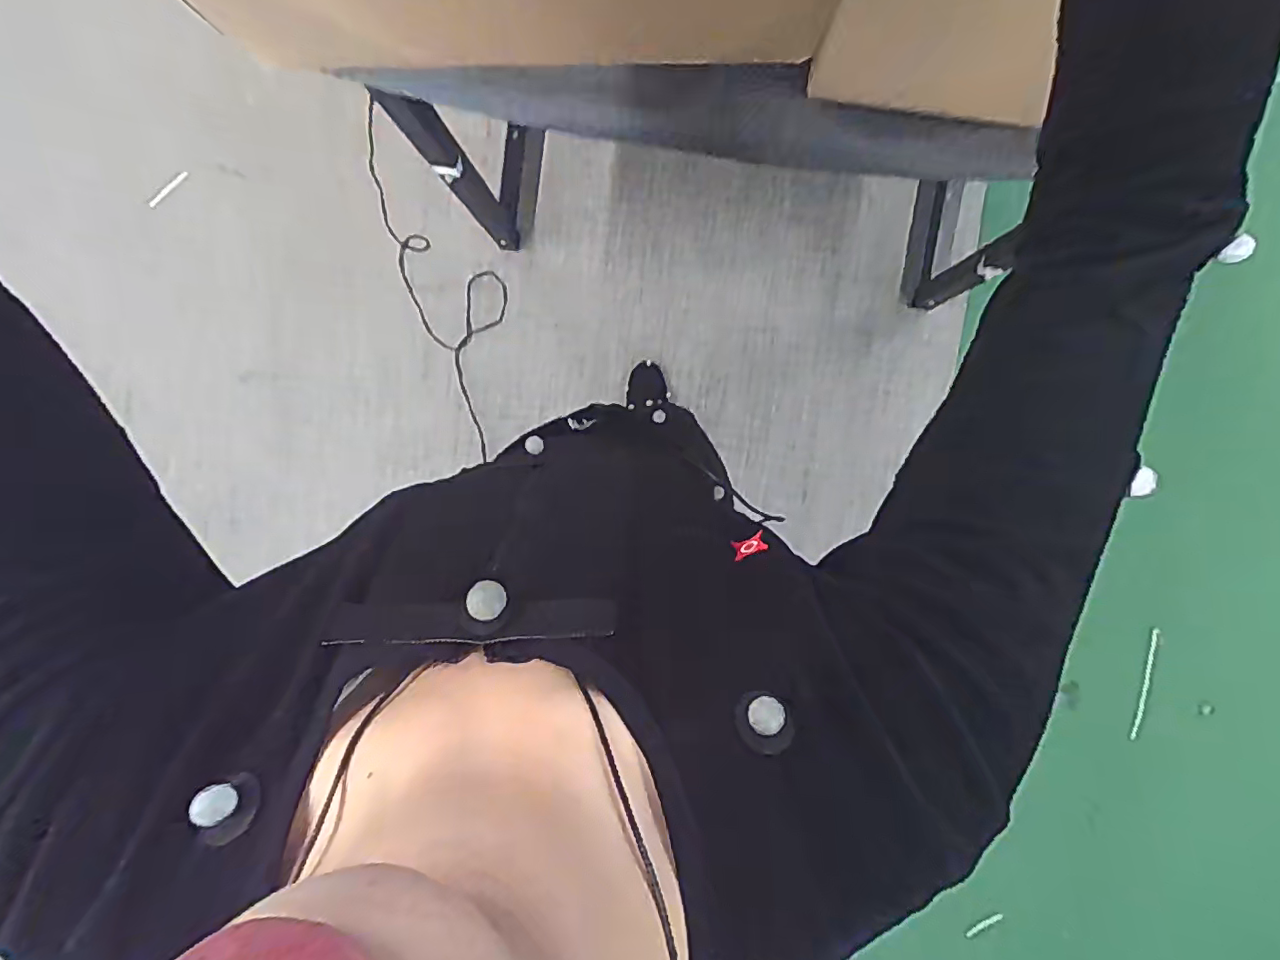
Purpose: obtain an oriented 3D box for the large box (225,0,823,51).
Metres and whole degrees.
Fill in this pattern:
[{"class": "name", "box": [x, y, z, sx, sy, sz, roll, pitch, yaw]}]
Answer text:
[{"class": "large box", "box": [-0.080, -0.449, 0.229, 0.408, 0.320, 0.320, 0, 96, 2]}]
